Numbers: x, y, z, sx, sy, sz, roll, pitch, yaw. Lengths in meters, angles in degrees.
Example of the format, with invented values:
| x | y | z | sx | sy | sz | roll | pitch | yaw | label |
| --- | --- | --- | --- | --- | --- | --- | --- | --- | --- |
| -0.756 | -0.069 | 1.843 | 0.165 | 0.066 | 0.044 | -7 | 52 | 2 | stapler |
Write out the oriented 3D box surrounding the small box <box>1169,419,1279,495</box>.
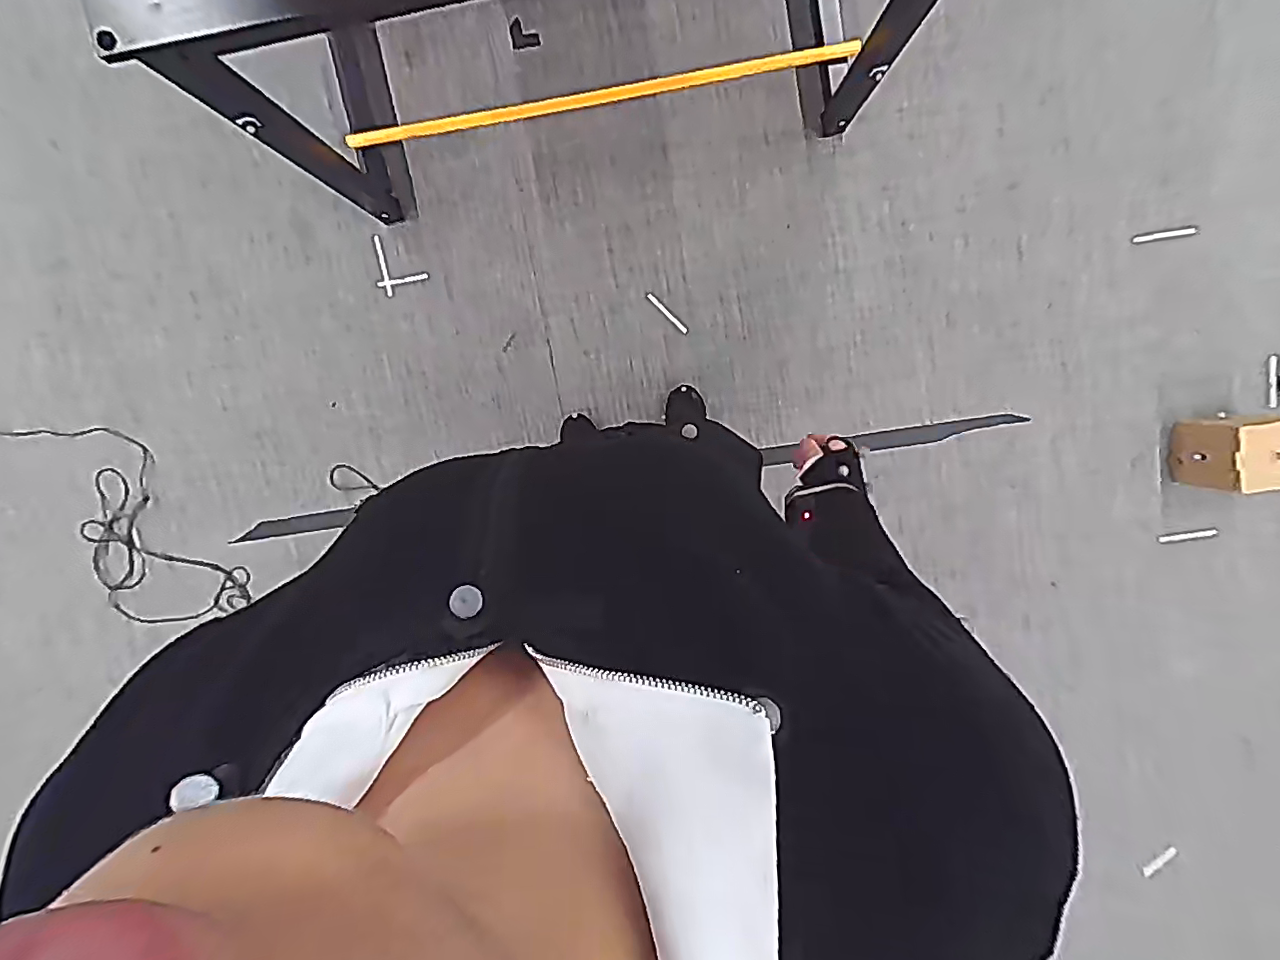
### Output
| x | y | z | sx | sy | sz | roll | pitch | yaw | label |
| --- | --- | --- | --- | --- | --- | --- | --- | --- | --- |
| 1.507 | -0.064 | 1.374 | 0.179 | 0.176 | 0.168 | -7 | 99 | 3 | small box |
